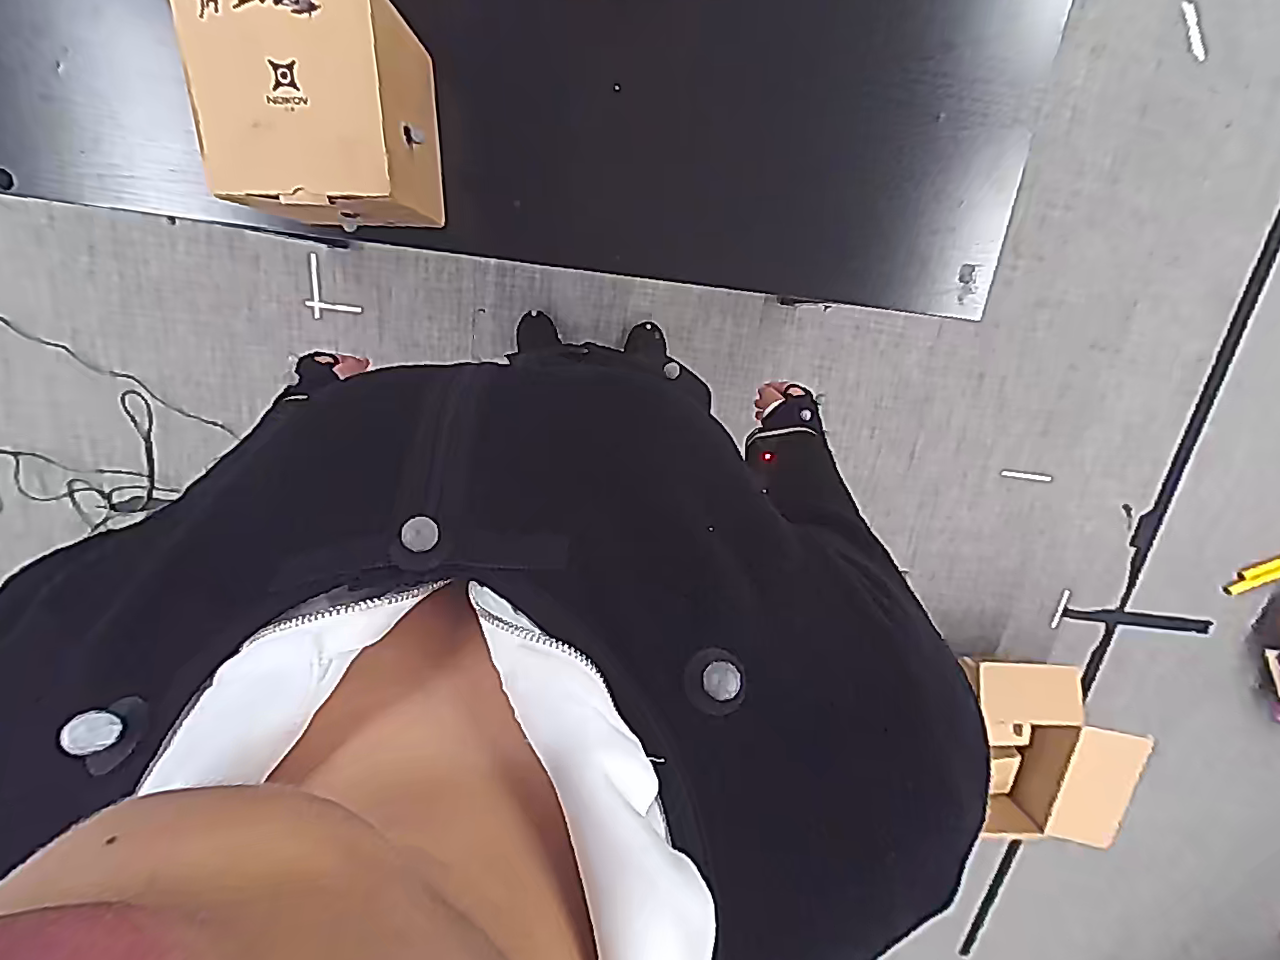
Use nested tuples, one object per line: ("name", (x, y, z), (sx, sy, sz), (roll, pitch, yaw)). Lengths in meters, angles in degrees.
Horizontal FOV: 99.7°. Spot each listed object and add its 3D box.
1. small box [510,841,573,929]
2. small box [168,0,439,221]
("small box", (-0.324, 1.348, 1.806), (0.179, 0.176, 0.168), (8, 105, -3))
("small box", (-0.315, -0.368, 0.547), (0.168, 0.176, 0.179), (0, 108, -3))
